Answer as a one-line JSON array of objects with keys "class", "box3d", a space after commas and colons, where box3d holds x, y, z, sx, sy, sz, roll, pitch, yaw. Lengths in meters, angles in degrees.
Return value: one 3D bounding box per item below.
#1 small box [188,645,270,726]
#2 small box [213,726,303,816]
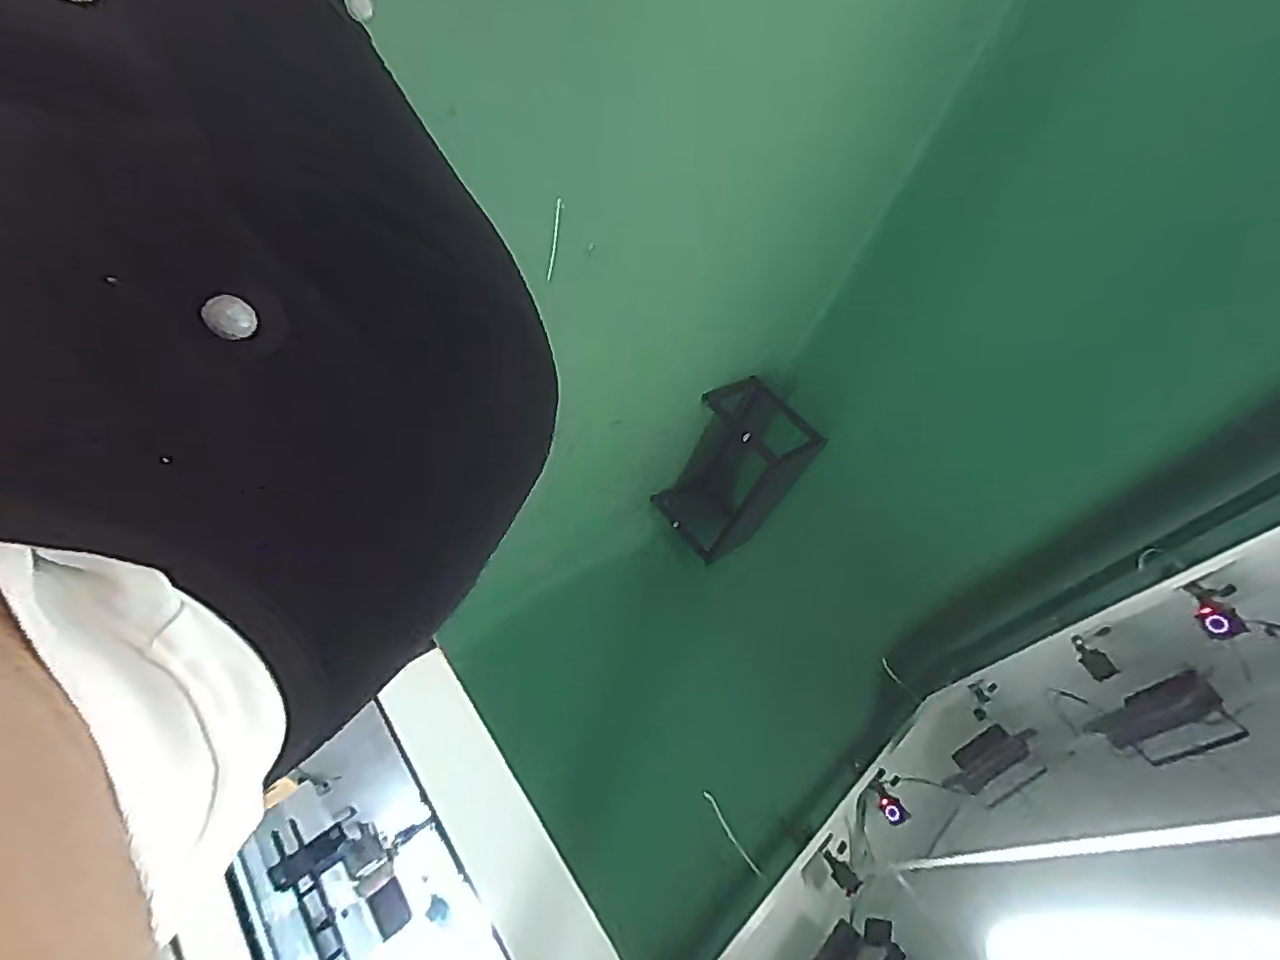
[{"class": "small box", "box3d": [-1.398, 0.696, 1.843, 0.168, 0.176, 0.179, -24, 150, -34]}, {"class": "small box", "box3d": [-1.194, 0.904, 1.691, 0.168, 0.176, 0.179, -25, 151, -32]}]
